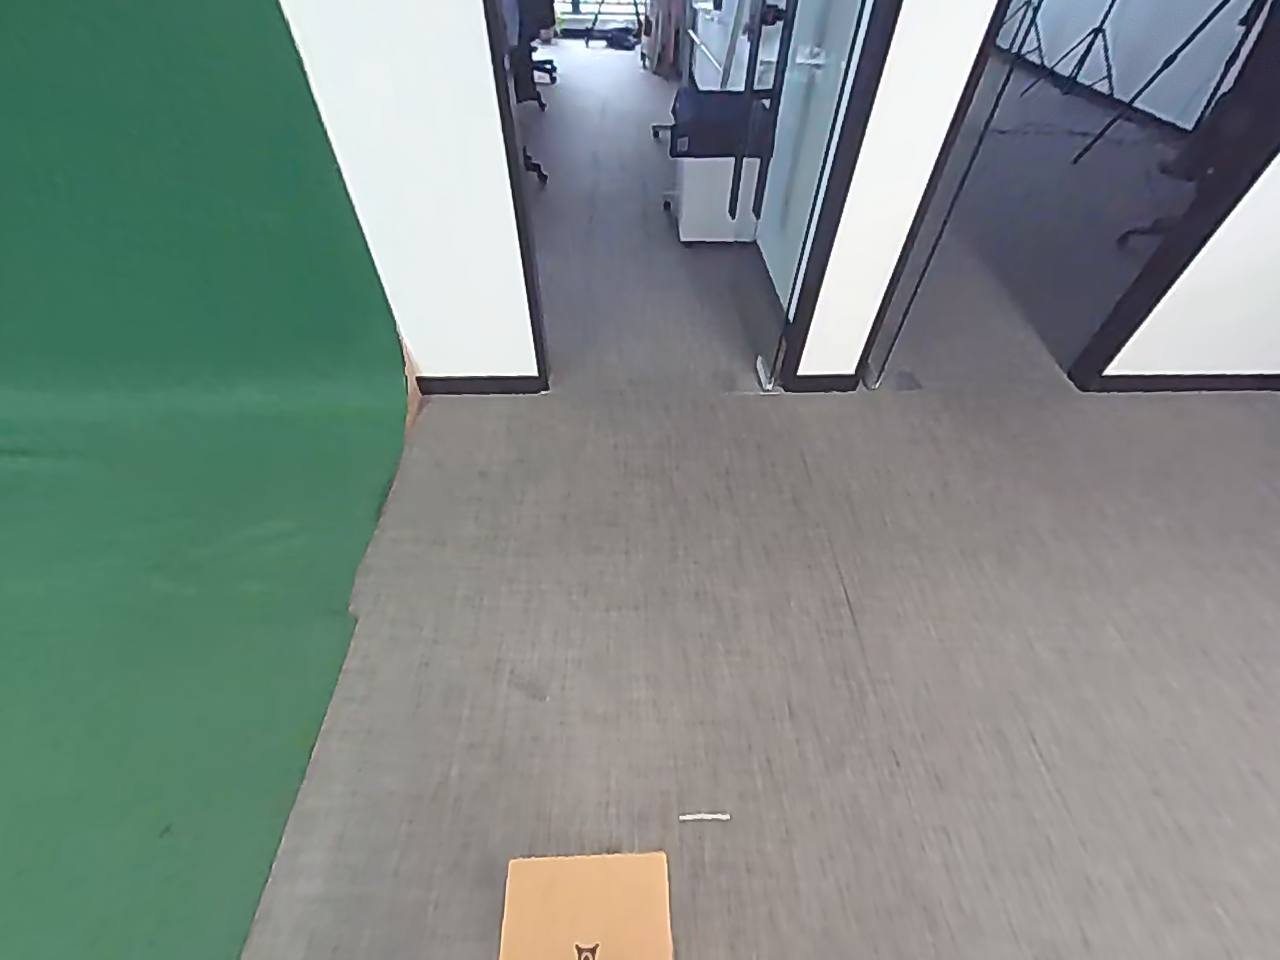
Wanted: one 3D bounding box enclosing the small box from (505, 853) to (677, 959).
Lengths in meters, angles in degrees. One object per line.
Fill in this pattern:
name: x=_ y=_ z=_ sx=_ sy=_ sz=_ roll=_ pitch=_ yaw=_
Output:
small box: x=-0.049 y=0.513 z=0.569 sx=0.168 sy=0.176 sz=0.179 roll=-1 pitch=49 yaw=-2
